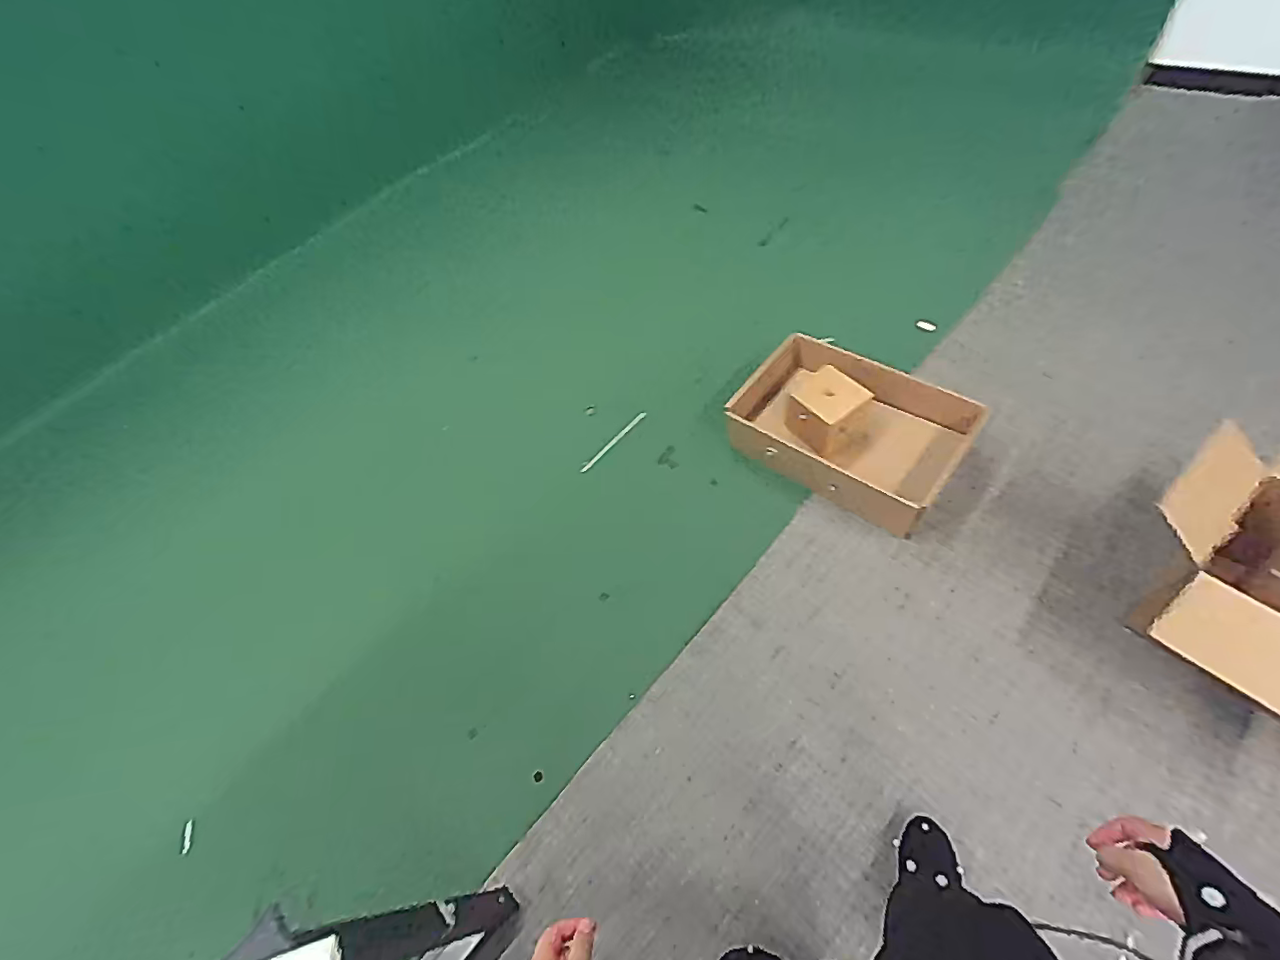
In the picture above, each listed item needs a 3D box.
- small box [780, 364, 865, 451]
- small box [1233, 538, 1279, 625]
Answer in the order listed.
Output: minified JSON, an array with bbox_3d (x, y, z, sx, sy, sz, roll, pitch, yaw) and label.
[{"bbox_3d":[0.549,-0.212,1.647,0.168,0.176,0.179,-35,58,-12],"label":"small box"},{"bbox_3d":[1.319,0.199,1.034,0.179,0.176,0.168,36,73,29],"label":"small box"}]
